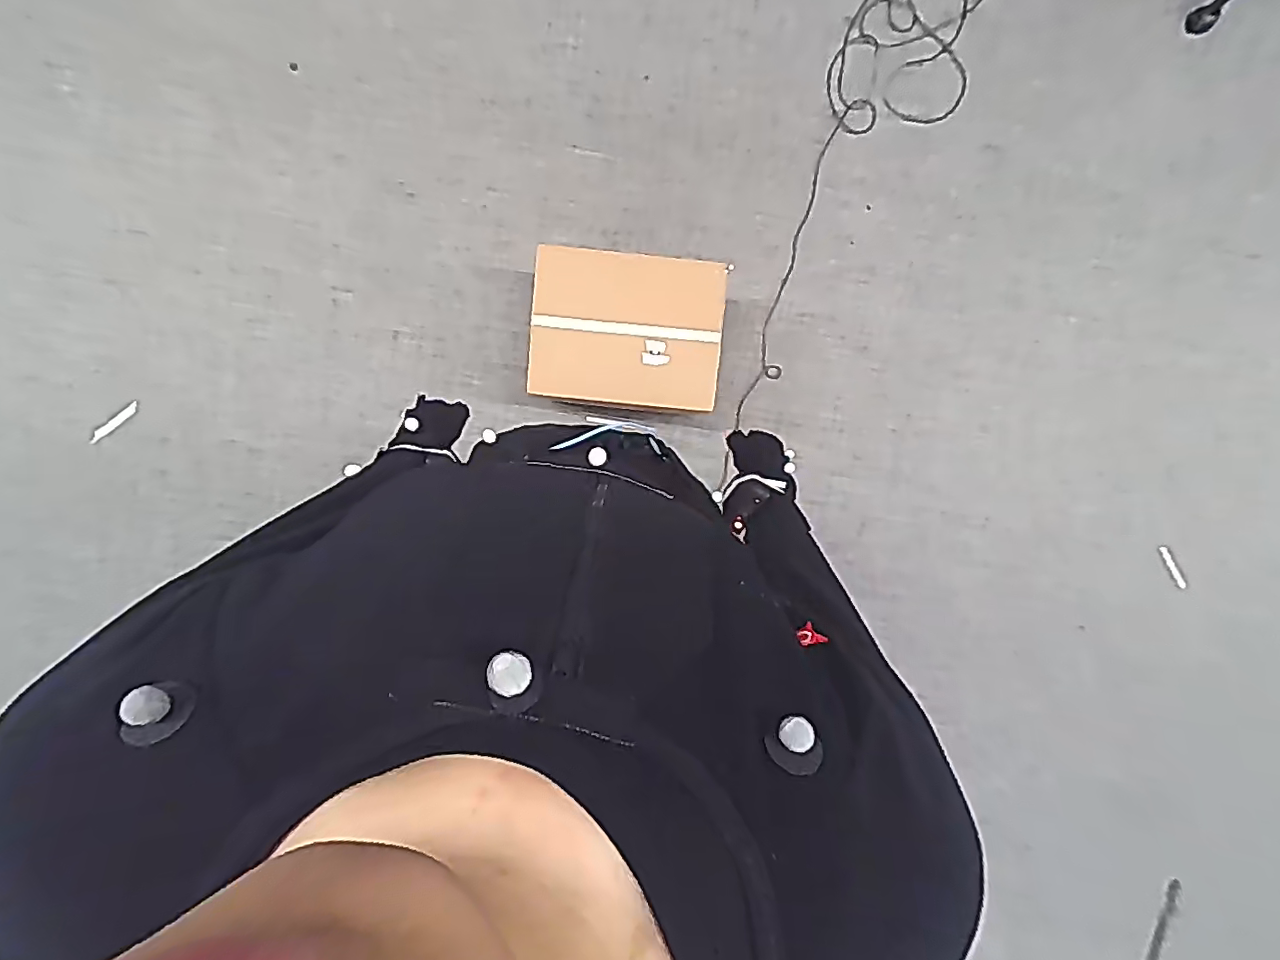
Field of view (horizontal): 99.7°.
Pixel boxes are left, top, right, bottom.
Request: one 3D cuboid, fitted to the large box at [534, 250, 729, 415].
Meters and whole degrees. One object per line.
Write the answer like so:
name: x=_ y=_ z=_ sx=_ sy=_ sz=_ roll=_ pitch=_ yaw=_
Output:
large box: x=-0.025 y=-0.331 z=1.305 sx=0.408 sy=0.320 sz=0.320 roll=5 pitch=96 yaw=-2
